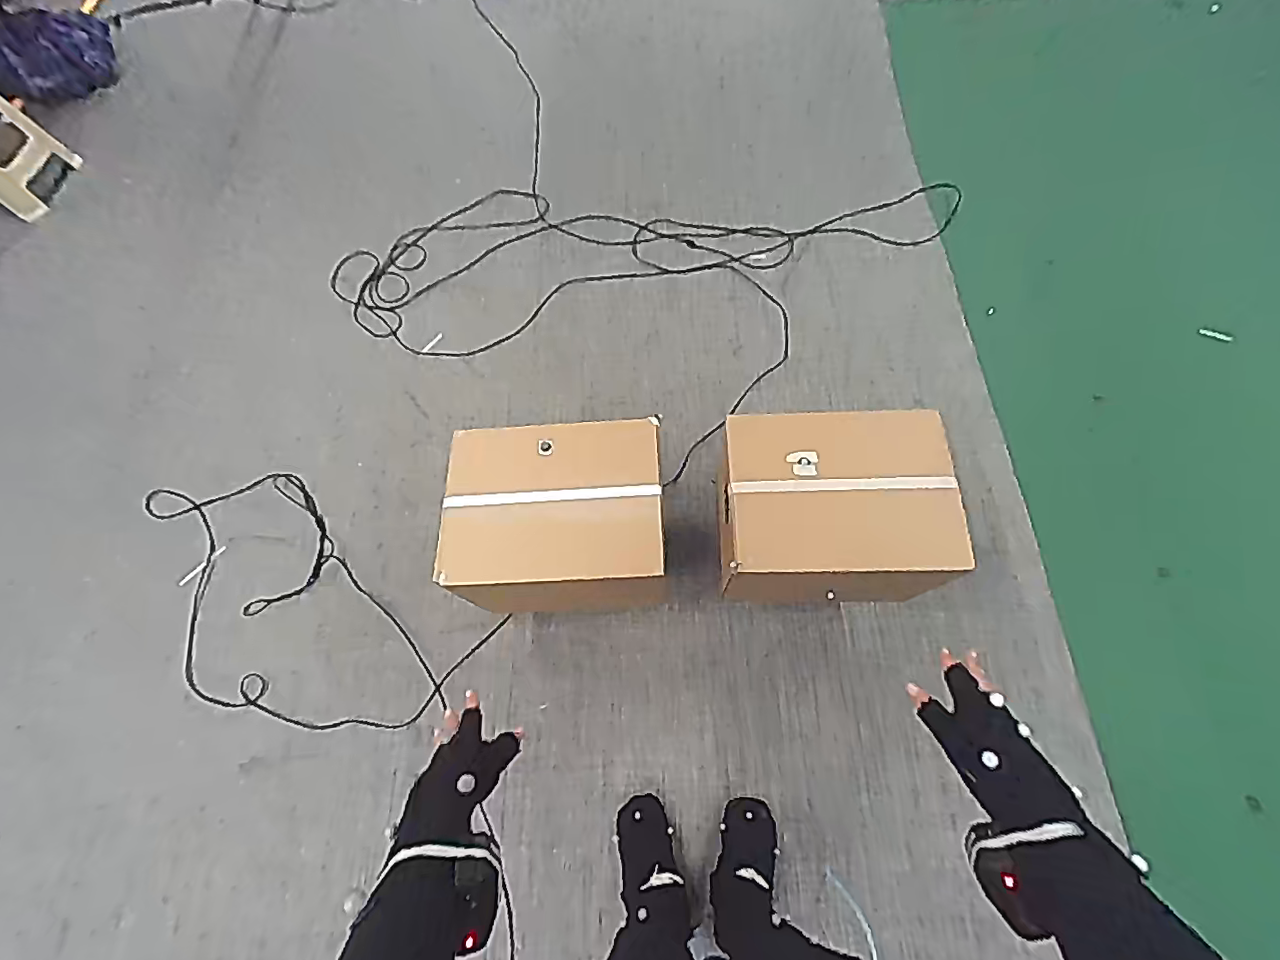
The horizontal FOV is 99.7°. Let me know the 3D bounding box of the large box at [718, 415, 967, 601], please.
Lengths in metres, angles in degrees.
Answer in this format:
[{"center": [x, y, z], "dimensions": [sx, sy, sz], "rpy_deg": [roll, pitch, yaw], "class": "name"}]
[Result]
[{"center": [0.381, 0.077, 1.137], "dimensions": [0.408, 0.320, 0.320], "rpy_deg": [-1, 67, 4], "class": "large box"}]
